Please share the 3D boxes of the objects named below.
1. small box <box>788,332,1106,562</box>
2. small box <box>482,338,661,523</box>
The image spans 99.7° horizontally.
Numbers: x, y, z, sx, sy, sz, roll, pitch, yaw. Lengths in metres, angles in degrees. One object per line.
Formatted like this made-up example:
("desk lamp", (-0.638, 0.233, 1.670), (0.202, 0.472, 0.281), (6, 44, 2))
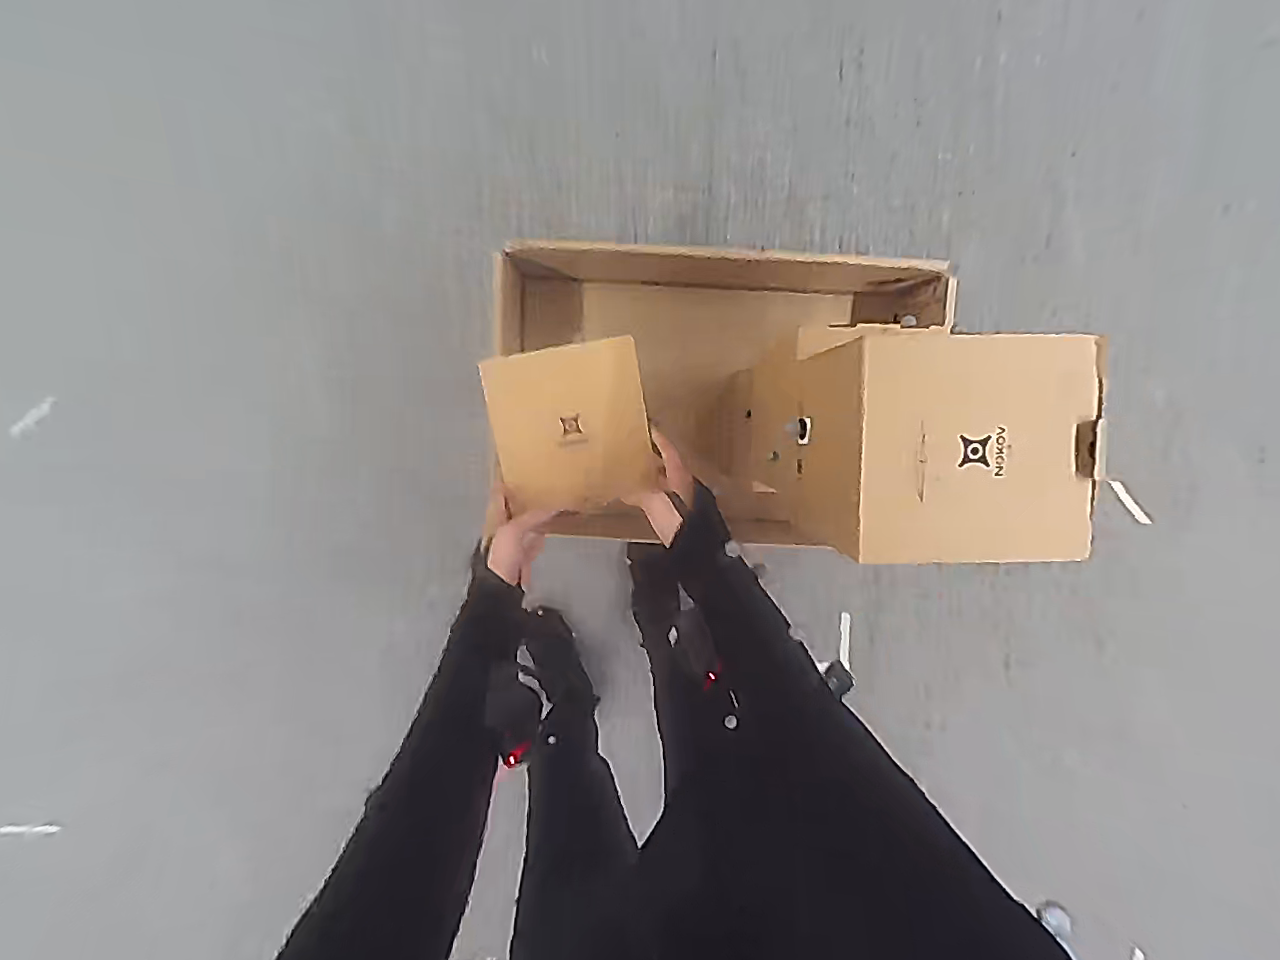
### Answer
("small box", (0.241, -0.030, 0.466), (0.179, 0.176, 0.168), (-1, 95, -2))
("small box", (-0.075, -0.064, 0.648), (0.168, 0.176, 0.179), (-10, 102, -1))
